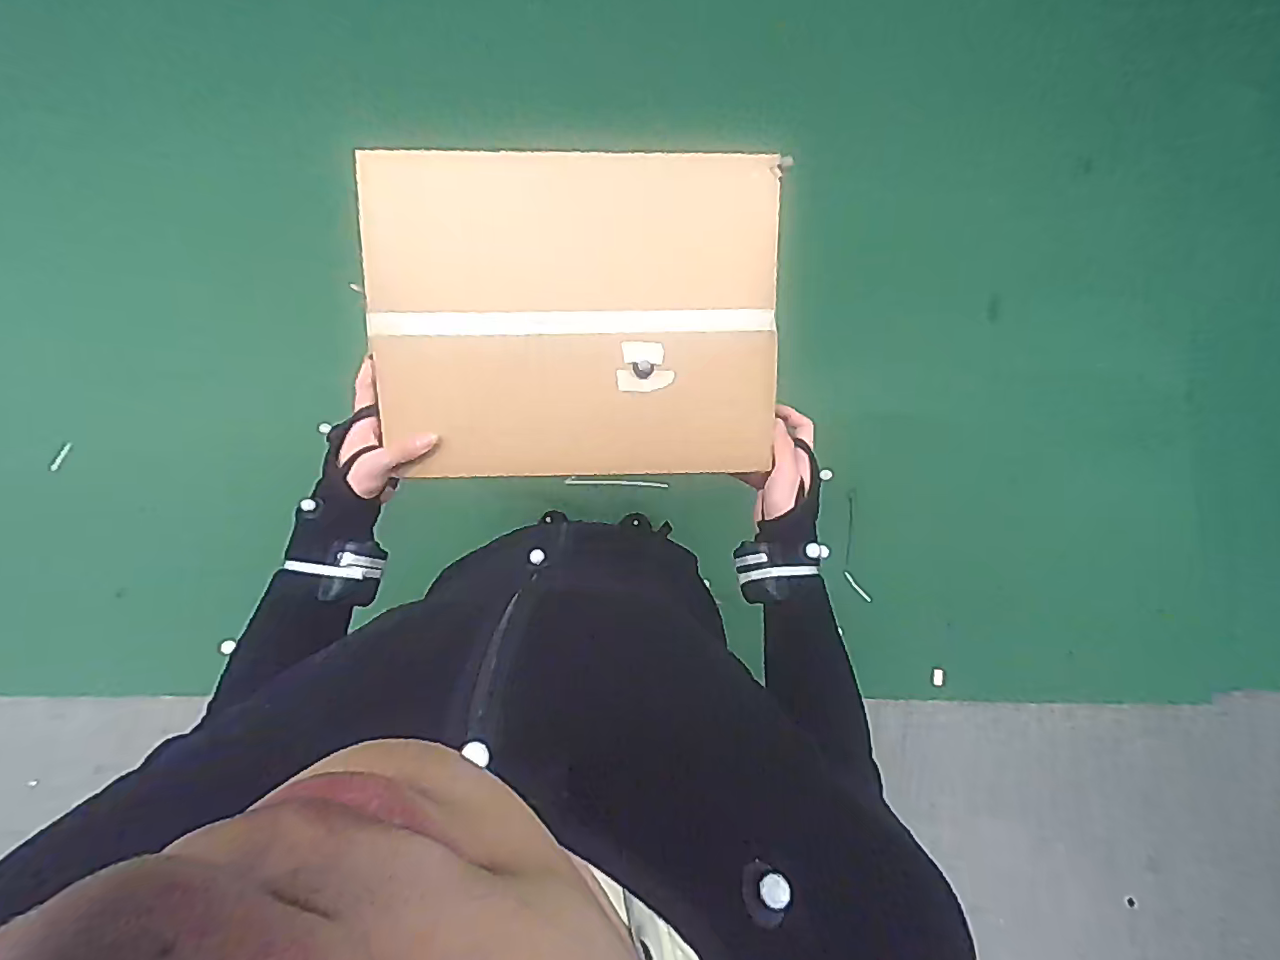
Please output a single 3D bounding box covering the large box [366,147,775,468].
[{"bbox_3d":[-0.072,-0.195,0.695,0.408,0.320,0.320,-1,101,-4],"label":"large box"}]
